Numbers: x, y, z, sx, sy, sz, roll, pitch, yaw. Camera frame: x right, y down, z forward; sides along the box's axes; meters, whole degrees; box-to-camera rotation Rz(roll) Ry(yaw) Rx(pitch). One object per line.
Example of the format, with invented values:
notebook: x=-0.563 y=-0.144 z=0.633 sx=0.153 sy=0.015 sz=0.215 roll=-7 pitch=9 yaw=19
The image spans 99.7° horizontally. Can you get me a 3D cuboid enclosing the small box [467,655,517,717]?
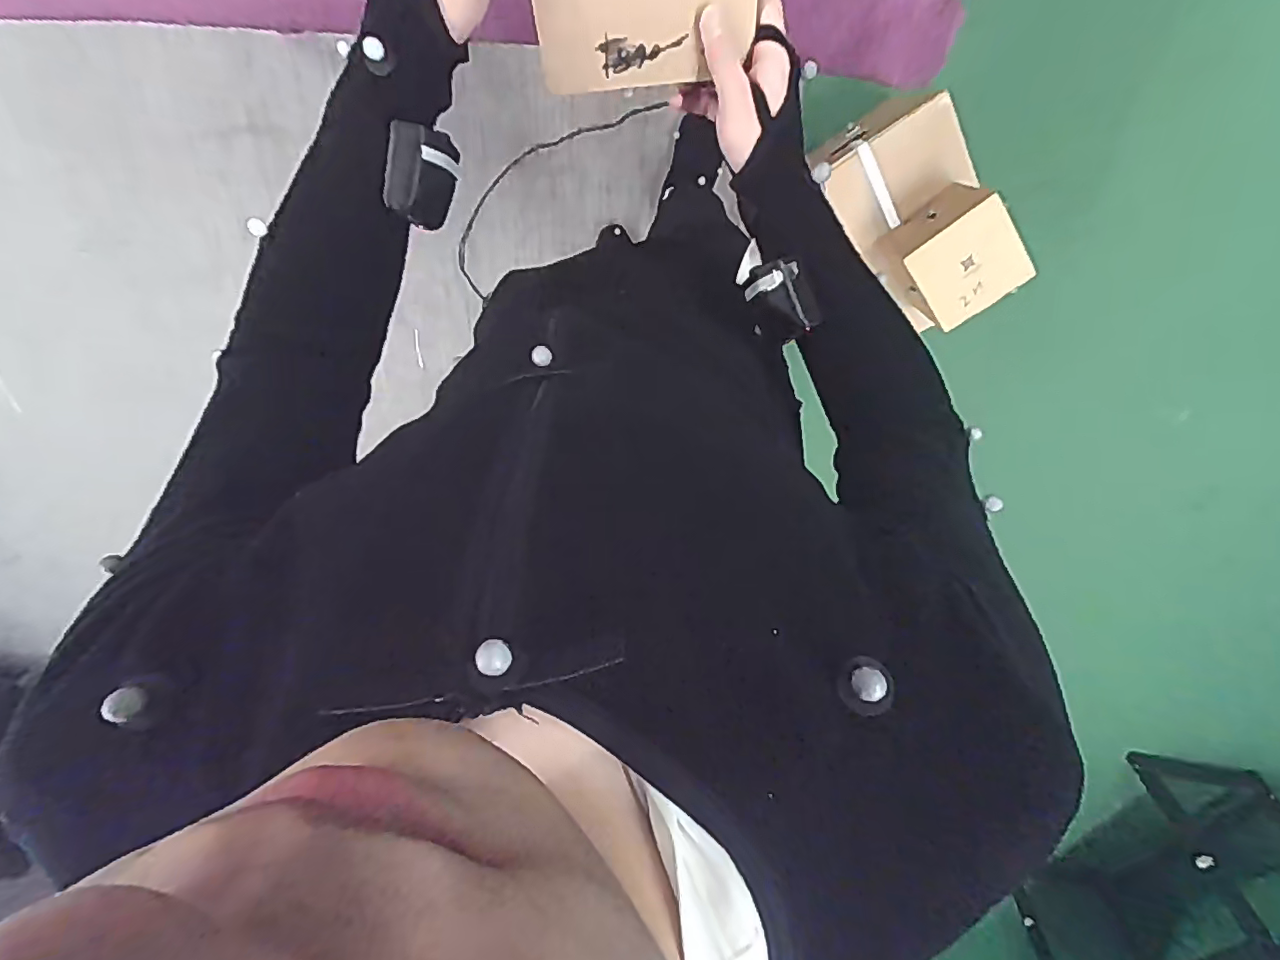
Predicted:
small box: x=-0.647 y=0.904 z=2.374 sx=0.168 sy=0.176 sz=0.179 roll=13 pitch=124 yaw=2

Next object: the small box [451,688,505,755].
small box: x=-0.671 y=0.998 z=2.242 sx=0.168 sy=0.176 sz=0.179 roll=15 pitch=124 yaw=-1

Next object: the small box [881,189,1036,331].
small box: x=0.583 y=-0.417 z=1.013 sx=0.168 sy=0.176 sz=0.179 roll=-34 pitch=115 yaw=25
